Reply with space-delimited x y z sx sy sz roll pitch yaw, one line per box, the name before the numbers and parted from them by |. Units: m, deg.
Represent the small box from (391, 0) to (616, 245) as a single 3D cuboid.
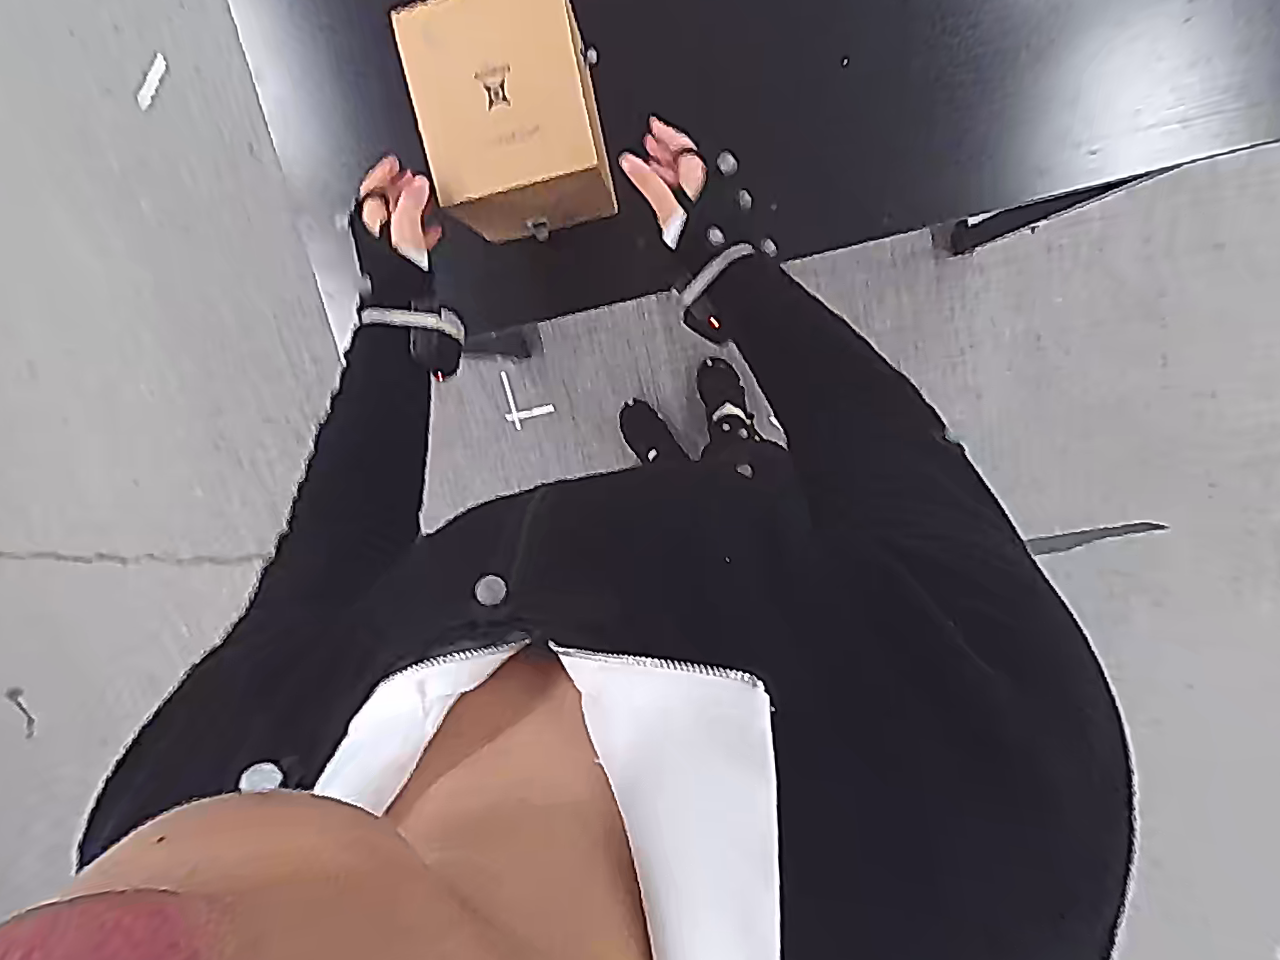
small box | -0.130 -0.380 0.585 0.168 0.176 0.179 -11 101 7
